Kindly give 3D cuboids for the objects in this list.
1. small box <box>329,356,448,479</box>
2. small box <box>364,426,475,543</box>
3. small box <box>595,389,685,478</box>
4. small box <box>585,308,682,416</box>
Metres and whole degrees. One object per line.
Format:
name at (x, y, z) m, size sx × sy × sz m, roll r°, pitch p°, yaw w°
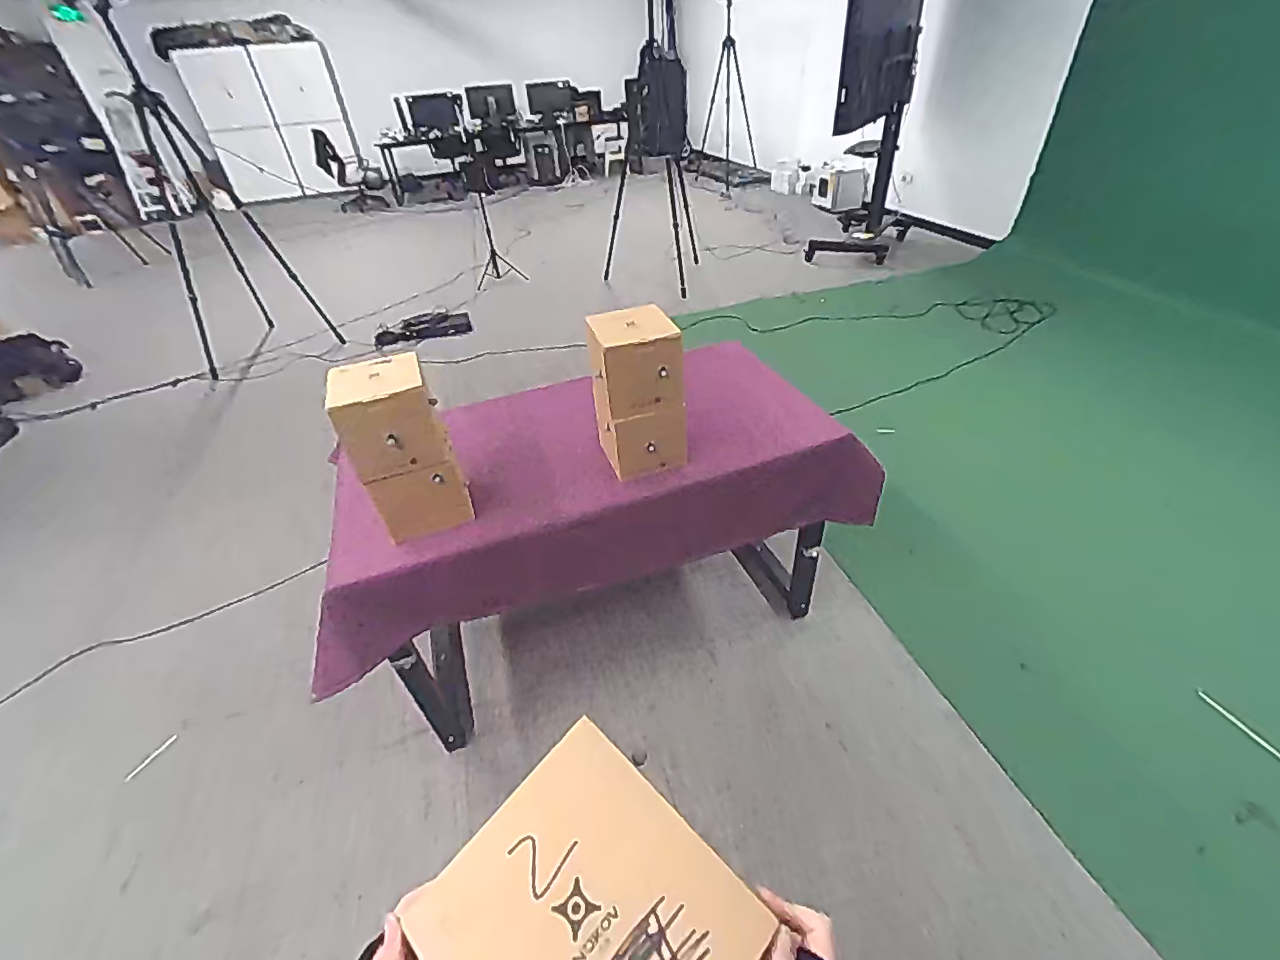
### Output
small box at (-0.489, -0.119, 1.066) m, size 0.168 × 0.176 × 0.179 m, roll -17°, pitch 40°, yaw -15°
small box at (-0.472, 0.011, 1.165) m, size 0.179 × 0.176 × 0.168 m, roll -17°, pitch 39°, yaw -15°
small box at (0.002, -0.121, 1.270) m, size 0.168 × 0.176 × 0.179 m, roll -15°, pitch 39°, yaw -12°
small box at (-0.012, -0.251, 1.173) m, size 0.168 × 0.176 × 0.179 m, roll -14°, pitch 38°, yaw -11°
